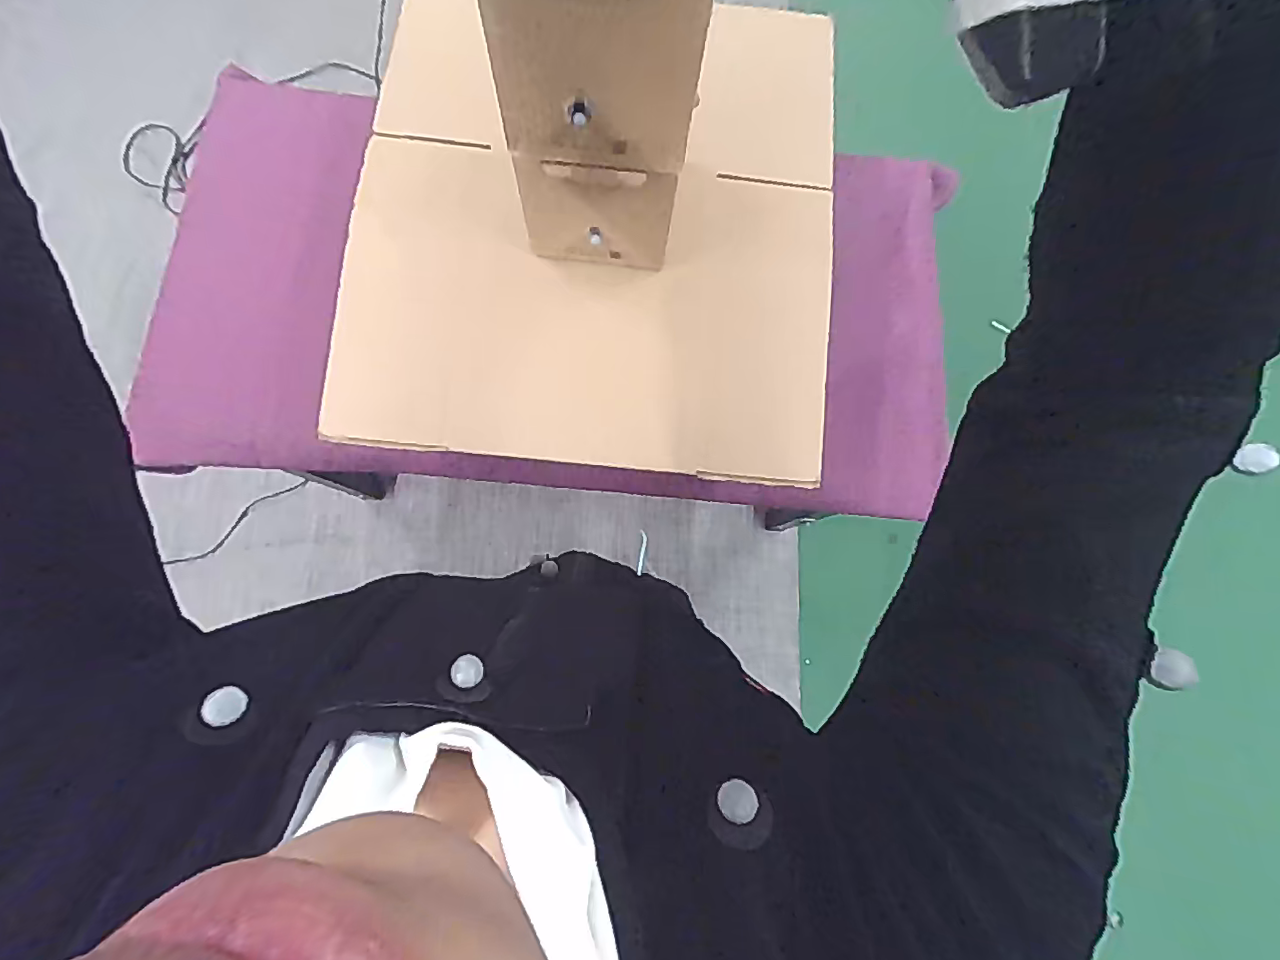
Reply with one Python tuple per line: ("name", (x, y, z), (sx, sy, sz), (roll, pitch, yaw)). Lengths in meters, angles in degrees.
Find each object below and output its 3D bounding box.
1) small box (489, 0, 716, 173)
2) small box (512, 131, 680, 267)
("small box", (-0.029, -0.402, 0.455), (0.168, 0.176, 0.179), (4, 78, -3))
("small box", (-0.039, -0.376, 0.616), (0.168, 0.176, 0.179), (6, 78, -2))
